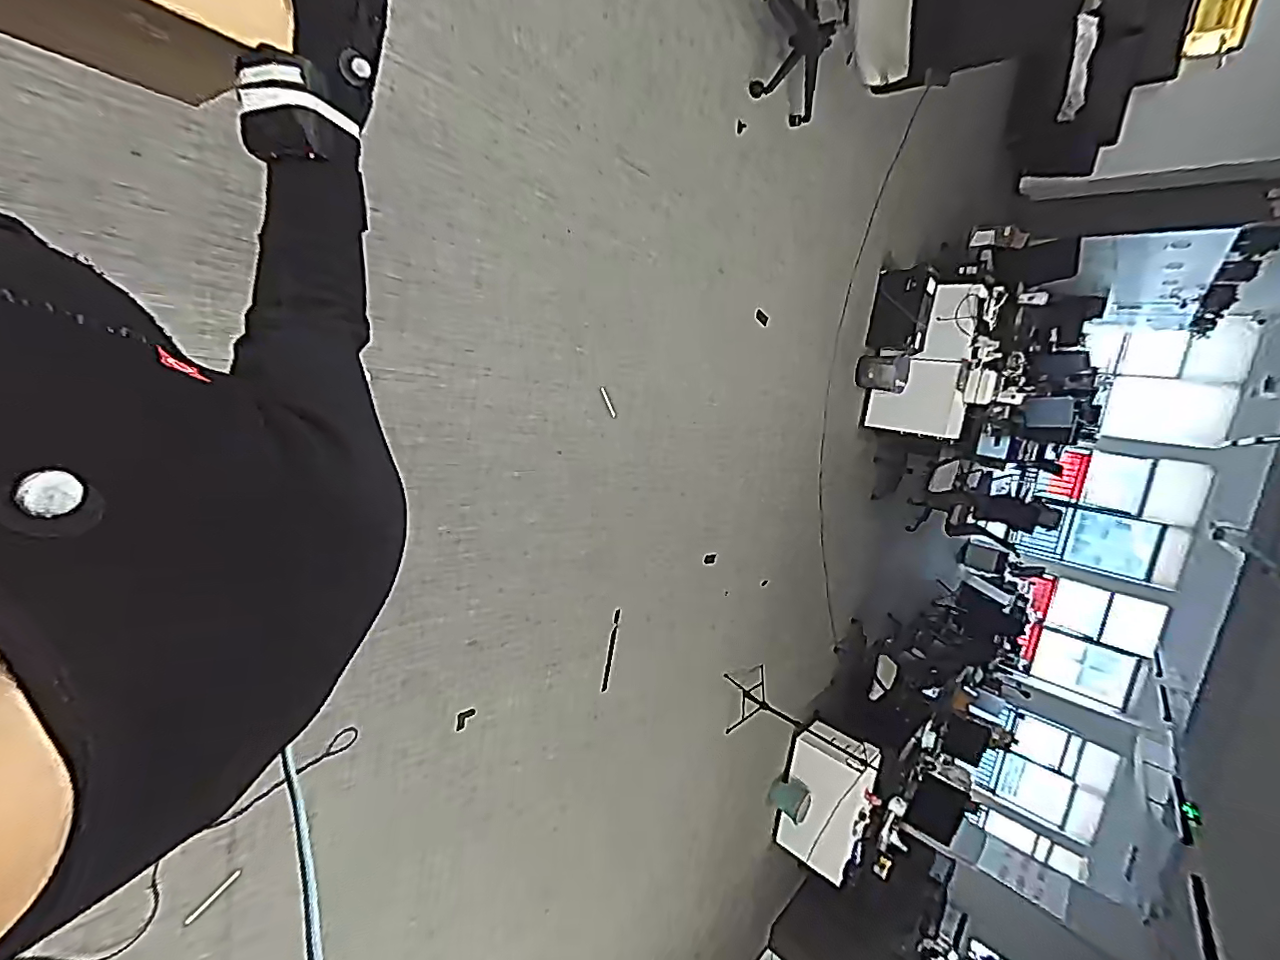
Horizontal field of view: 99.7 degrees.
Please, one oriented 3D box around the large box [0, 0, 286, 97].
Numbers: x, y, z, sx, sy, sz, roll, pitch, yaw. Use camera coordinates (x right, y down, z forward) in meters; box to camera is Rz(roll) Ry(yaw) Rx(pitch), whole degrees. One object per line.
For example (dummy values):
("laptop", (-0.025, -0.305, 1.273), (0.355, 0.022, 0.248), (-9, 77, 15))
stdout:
("large box", (-0.478, -0.496, 0.311), (0.408, 0.320, 0.320), (-4, 113, -50))
